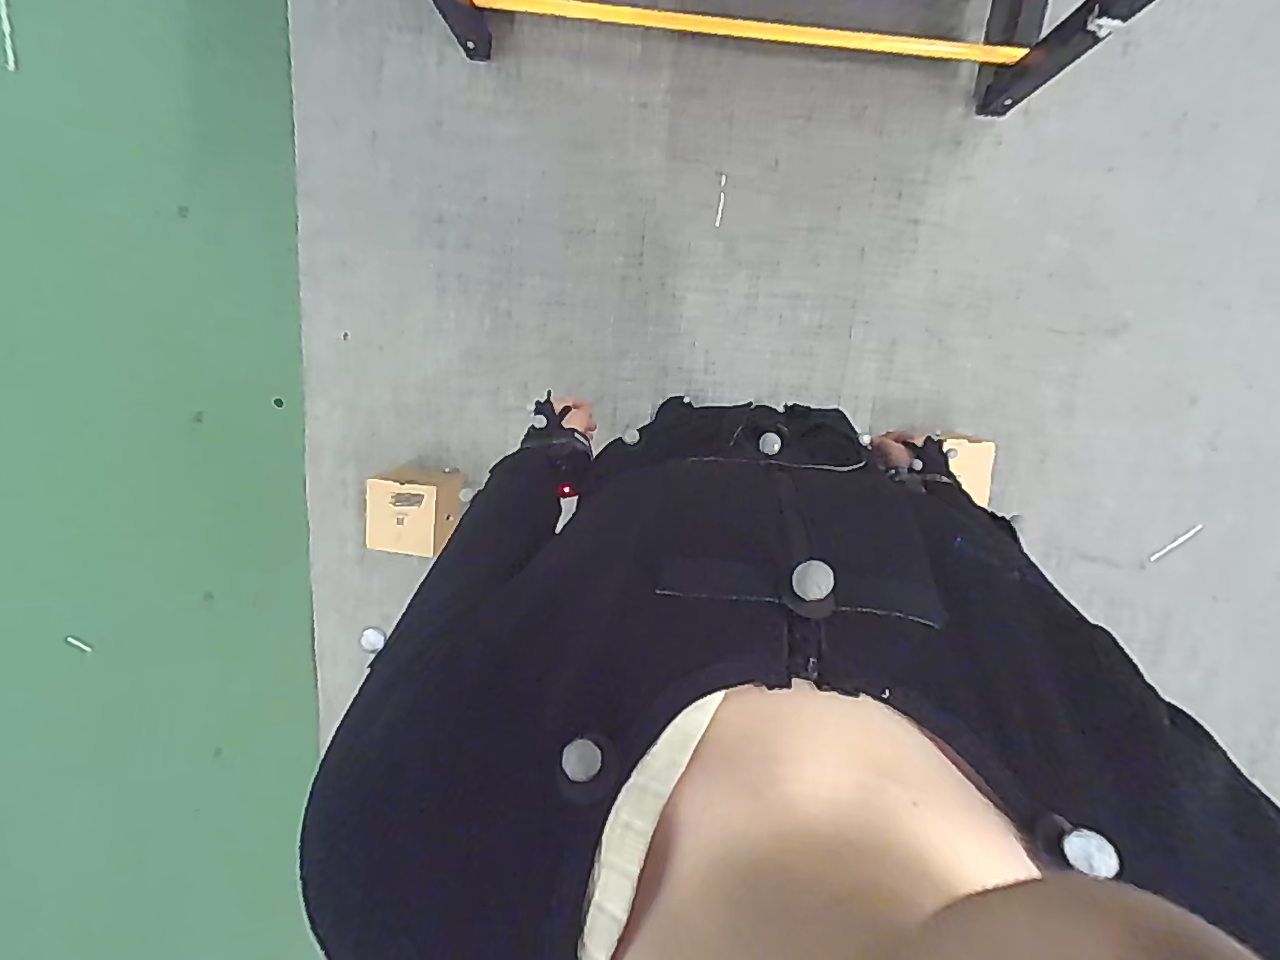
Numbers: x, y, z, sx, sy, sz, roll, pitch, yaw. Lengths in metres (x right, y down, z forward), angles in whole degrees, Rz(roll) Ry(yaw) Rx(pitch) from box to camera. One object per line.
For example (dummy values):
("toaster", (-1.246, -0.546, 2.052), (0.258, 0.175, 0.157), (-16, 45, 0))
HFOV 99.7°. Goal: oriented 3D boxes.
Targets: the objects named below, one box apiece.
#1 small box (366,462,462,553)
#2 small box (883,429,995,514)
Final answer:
("small box", (-0.546, 0.060, 1.325), (0.168, 0.176, 0.179), (8, 103, 1))
("small box", (0.680, -0.026, 1.252), (0.168, 0.176, 0.179), (1, 101, 2))
